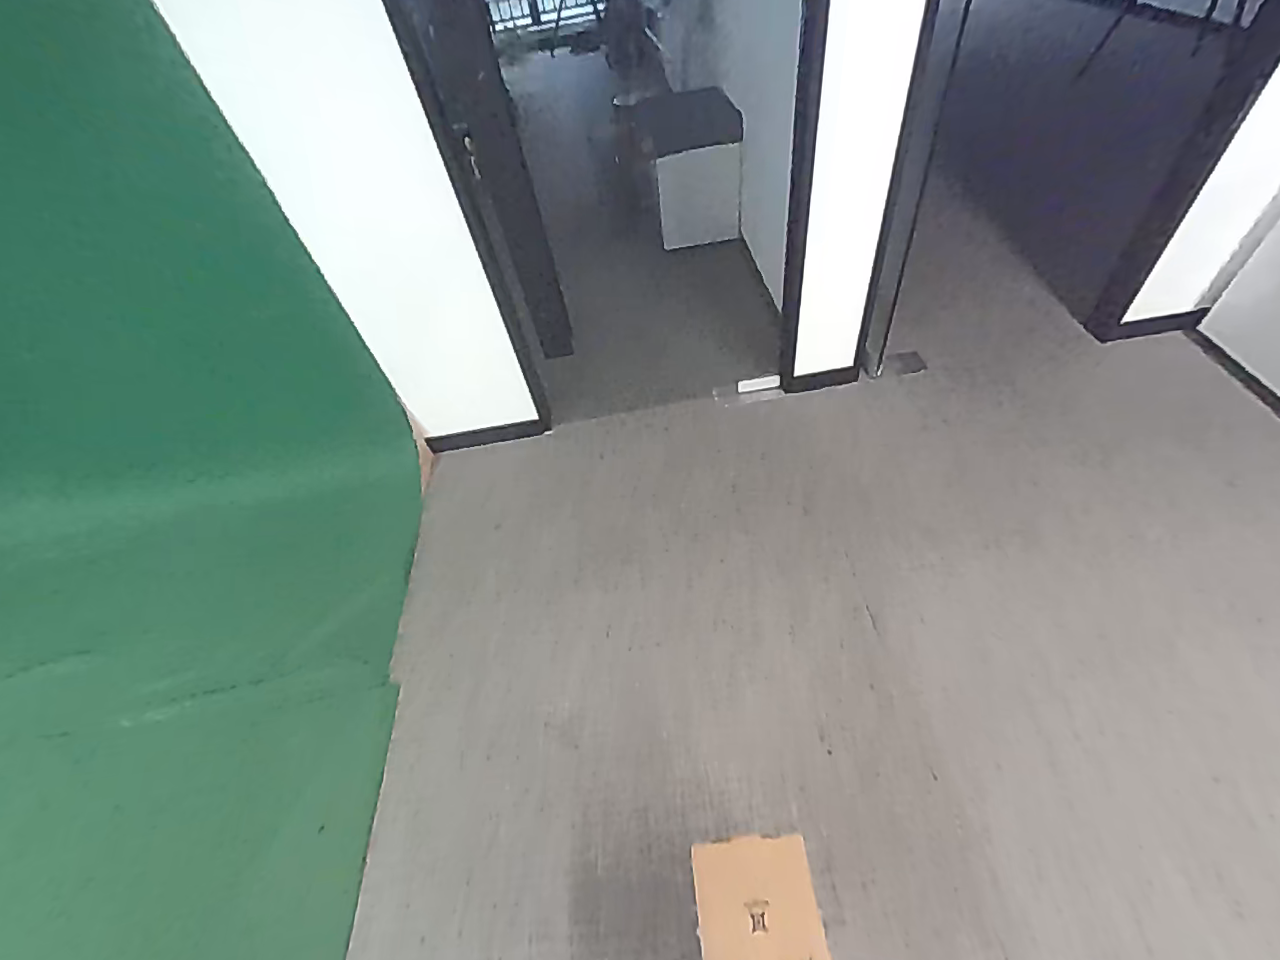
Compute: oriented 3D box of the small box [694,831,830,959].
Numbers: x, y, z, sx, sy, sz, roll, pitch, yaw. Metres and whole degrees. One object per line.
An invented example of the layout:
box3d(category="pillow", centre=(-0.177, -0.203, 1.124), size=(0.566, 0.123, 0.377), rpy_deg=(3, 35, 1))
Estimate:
box3d(category="small box", centre=(0.173, 0.642, 0.796), size=(0.168, 0.176, 0.179), rpy_deg=(-9, 47, 4))
